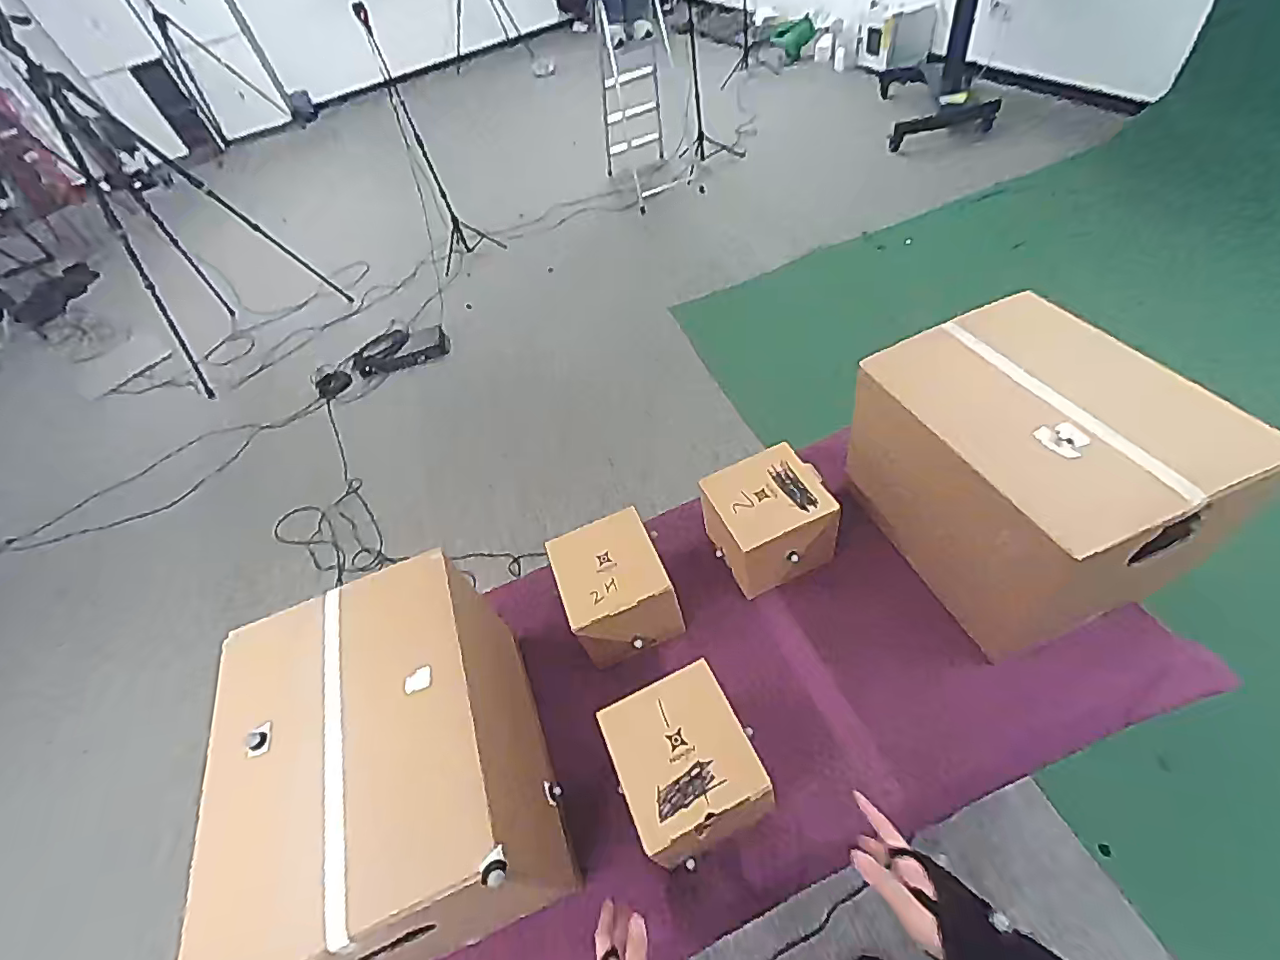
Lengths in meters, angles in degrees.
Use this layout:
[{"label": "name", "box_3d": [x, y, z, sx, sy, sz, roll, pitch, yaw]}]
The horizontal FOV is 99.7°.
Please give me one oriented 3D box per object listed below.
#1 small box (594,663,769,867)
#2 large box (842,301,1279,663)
[{"label": "small box", "box_3d": [0.061, 0.387, 0.726, 0.168, 0.176, 0.179, -25, 47, -8]}, {"label": "large box", "box_3d": [0.573, -0.004, 0.837, 0.320, 0.320, 0.408, -23, 50, -4]}]
